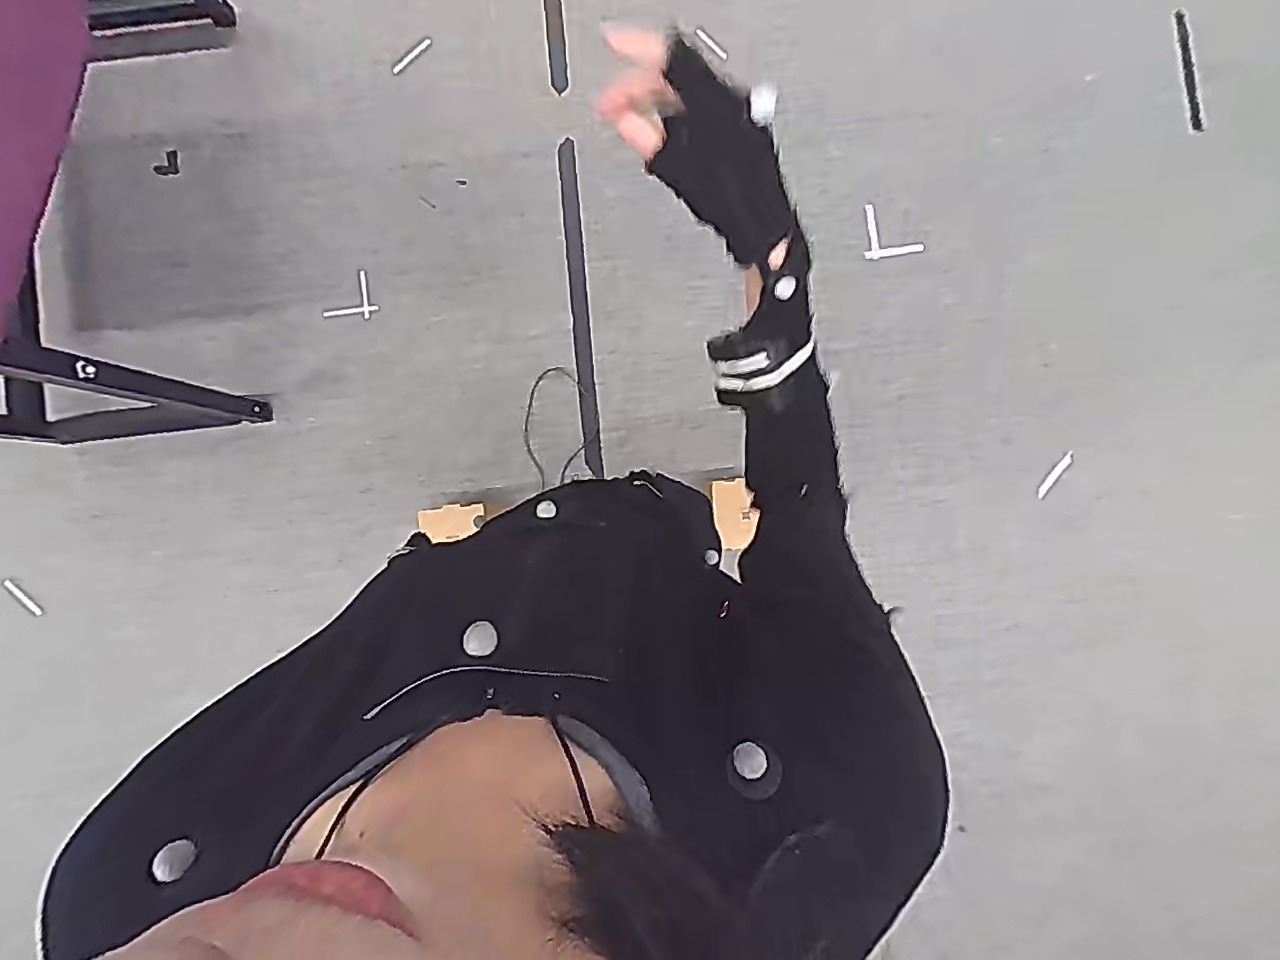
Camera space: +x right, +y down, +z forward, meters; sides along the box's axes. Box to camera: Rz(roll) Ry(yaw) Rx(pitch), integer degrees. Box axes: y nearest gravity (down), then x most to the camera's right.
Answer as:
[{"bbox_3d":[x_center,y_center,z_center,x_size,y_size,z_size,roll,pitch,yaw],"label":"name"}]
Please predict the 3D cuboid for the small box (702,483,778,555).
[{"bbox_3d":[0.260,0.102,1.438,0.168,0.176,0.179,-3,89,0],"label":"small box"}]

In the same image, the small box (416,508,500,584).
[{"bbox_3d":[-0.470,0.171,1.414,0.168,0.176,0.179,-5,86,-2],"label":"small box"}]
